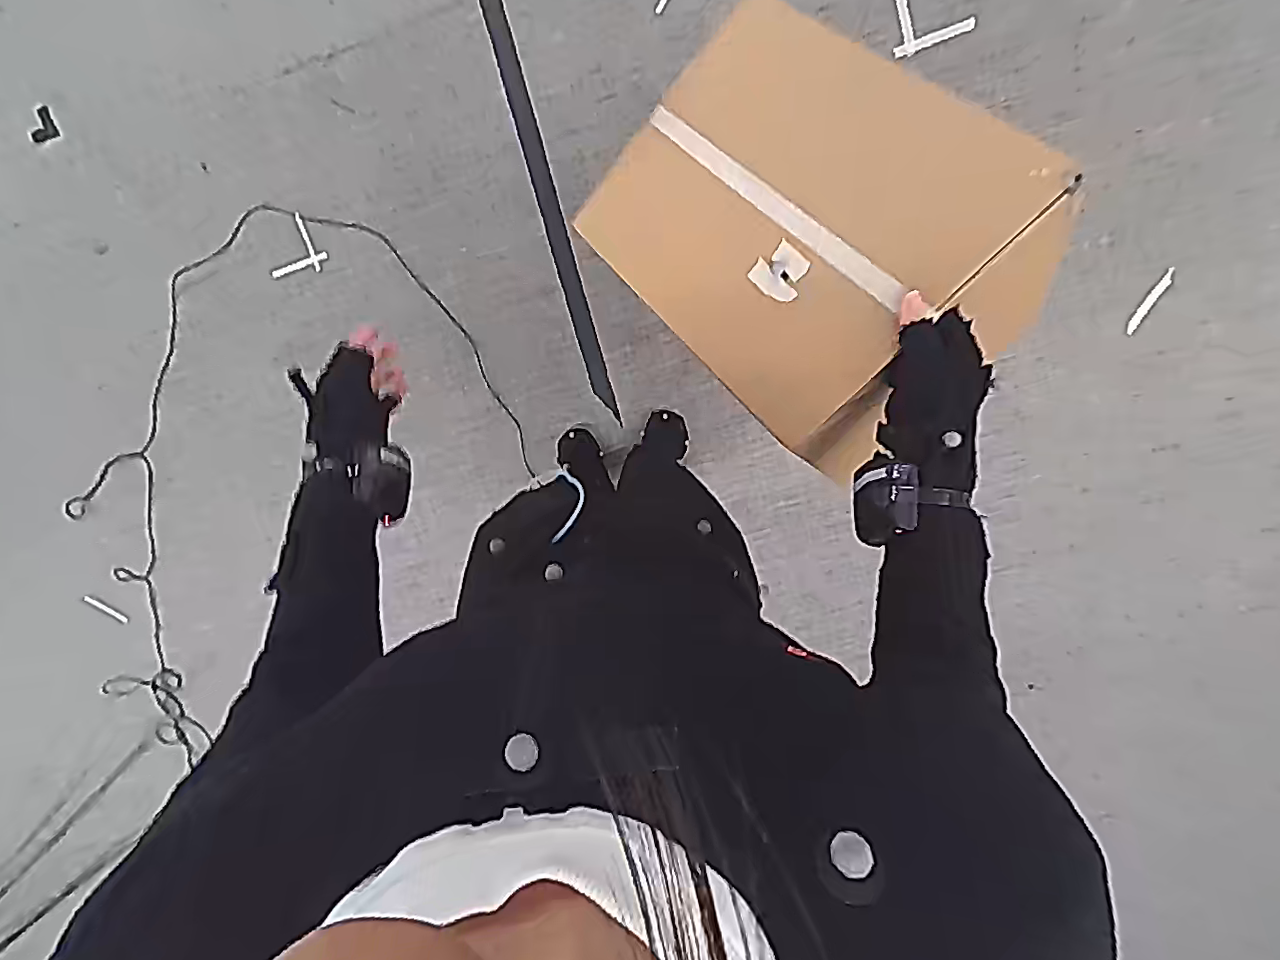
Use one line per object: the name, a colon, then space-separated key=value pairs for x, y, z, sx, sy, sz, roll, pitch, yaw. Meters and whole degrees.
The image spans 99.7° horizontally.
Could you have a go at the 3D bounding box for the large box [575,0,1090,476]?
large box: x=0.204 y=-0.259 z=0.669 sx=0.320 sy=0.320 sz=0.408 roll=-48 pitch=66 yaw=17
